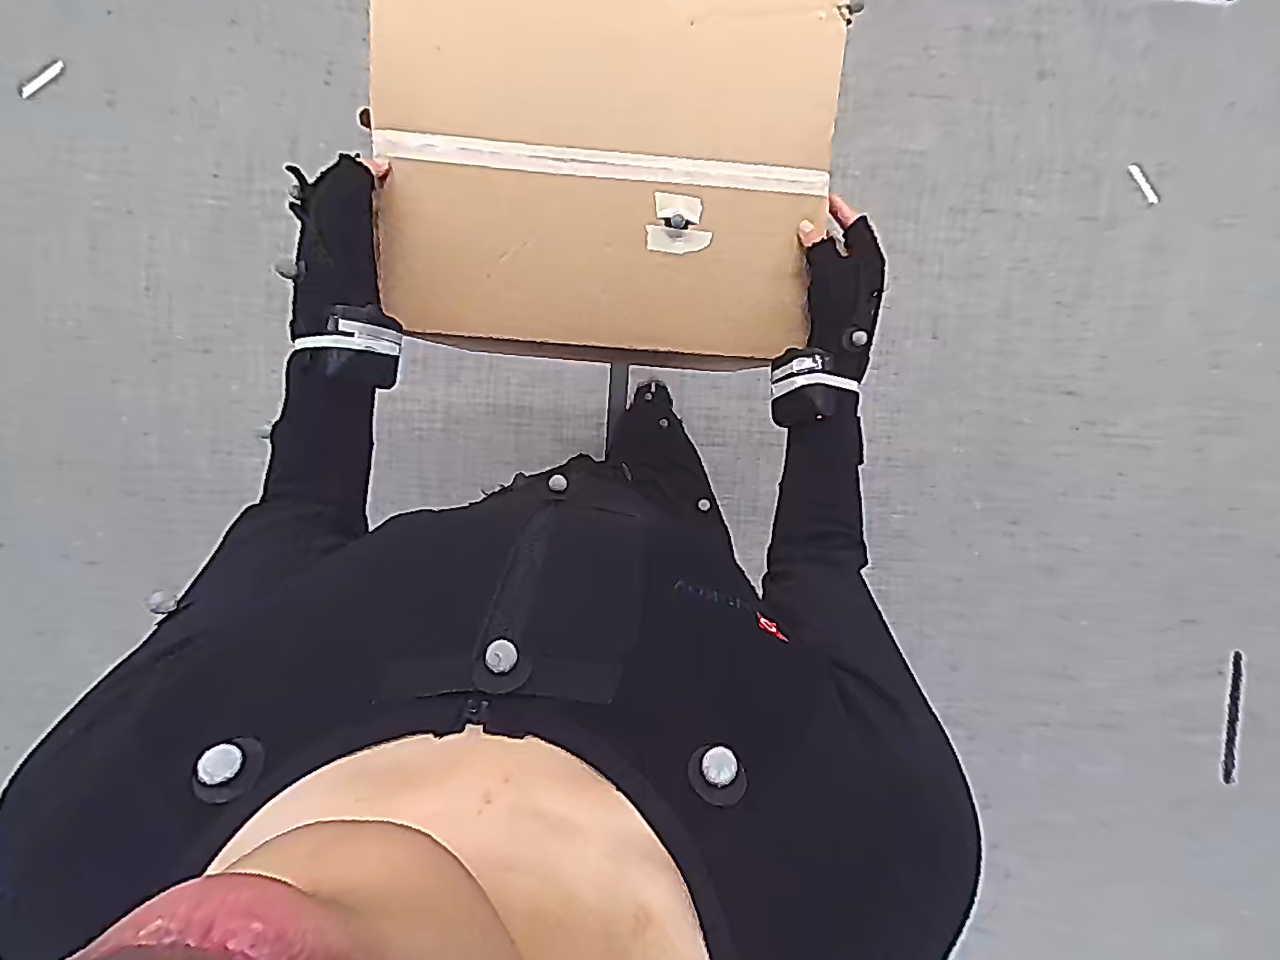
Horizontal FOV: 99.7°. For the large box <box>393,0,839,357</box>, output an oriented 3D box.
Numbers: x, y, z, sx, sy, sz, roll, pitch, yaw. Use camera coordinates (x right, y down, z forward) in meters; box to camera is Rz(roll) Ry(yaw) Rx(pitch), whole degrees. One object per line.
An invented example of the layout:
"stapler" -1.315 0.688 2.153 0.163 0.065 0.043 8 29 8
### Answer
"large box" -0.035 -0.322 0.648 0.408 0.320 0.320 3 100 -4
